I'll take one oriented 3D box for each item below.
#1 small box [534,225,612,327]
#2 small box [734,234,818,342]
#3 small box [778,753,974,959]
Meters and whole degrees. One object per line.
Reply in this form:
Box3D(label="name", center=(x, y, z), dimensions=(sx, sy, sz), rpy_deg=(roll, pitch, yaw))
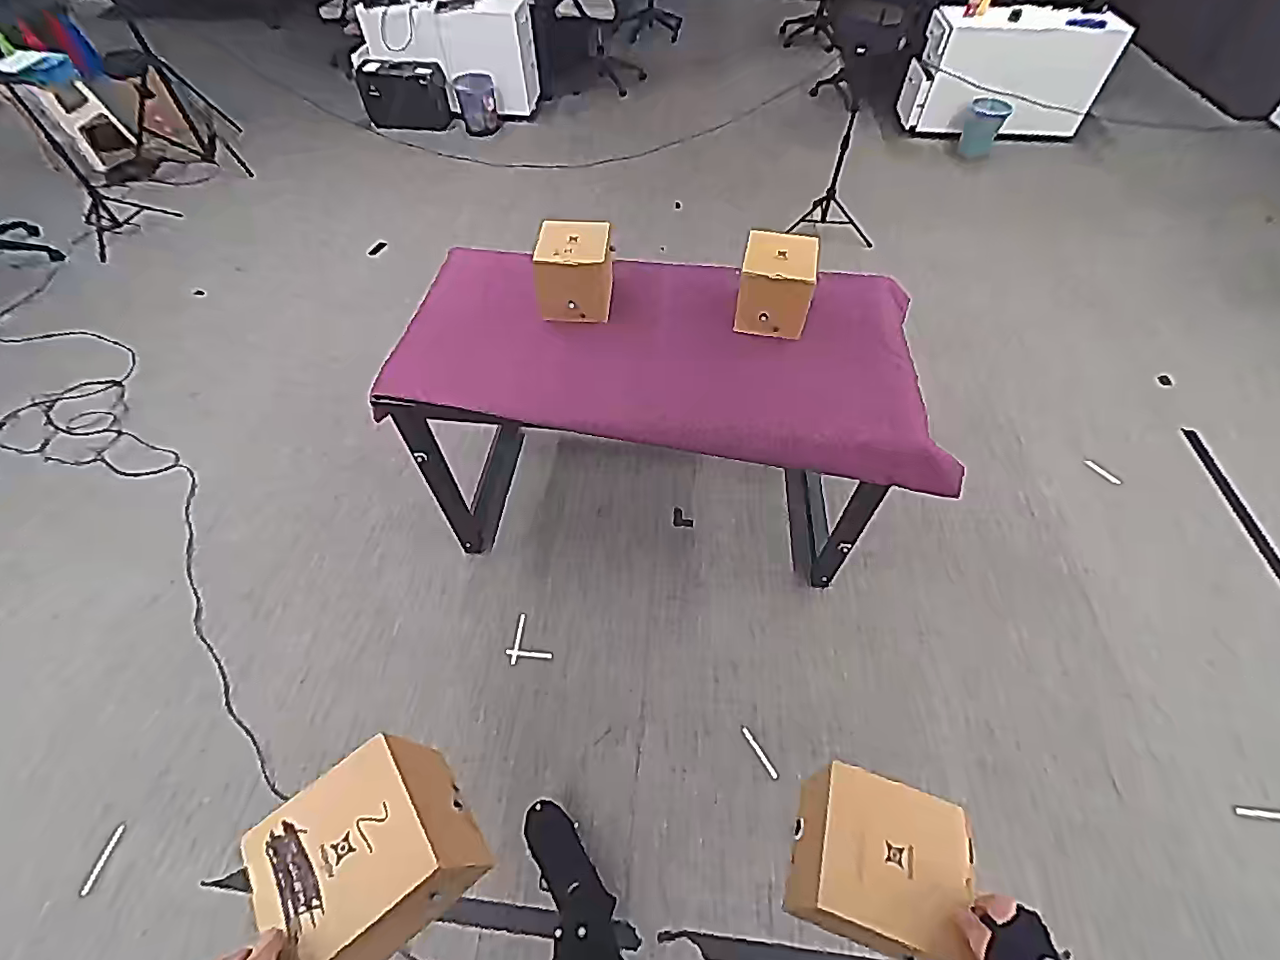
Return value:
Box3D(label="small box", center=(-0.159, -0.508, 1.349), dimensions=(0.168, 0.176, 0.179), rpy_deg=(2, 54, 2))
Box3D(label="small box", center=(0.327, -0.466, 1.317), dimensions=(0.168, 0.176, 0.179), rpy_deg=(10, 56, 8))
Box3D(label="small box", center=(0.298, 0.487, 0.702), dimensions=(0.179, 0.176, 0.168), rpy_deg=(18, 51, 10))
